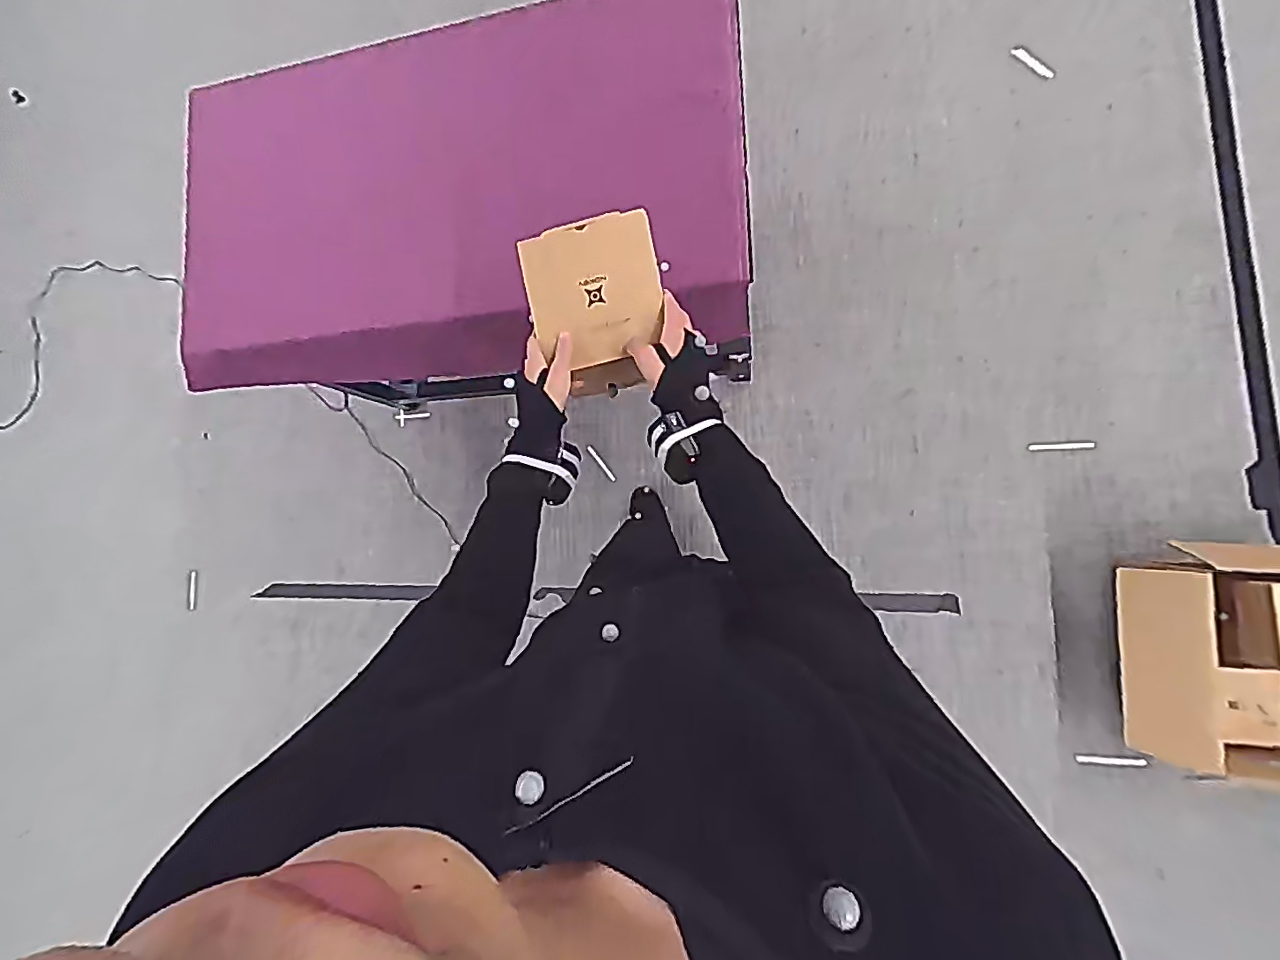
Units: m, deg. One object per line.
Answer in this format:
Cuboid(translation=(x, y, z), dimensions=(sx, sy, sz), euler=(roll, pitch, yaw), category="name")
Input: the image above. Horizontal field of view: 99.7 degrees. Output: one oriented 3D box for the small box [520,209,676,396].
Cuboid(translation=(-0.048, -0.228, 0.738), dimensions=(0.168, 0.176, 0.179), euler=(-12, 87, 6), category="small box")
